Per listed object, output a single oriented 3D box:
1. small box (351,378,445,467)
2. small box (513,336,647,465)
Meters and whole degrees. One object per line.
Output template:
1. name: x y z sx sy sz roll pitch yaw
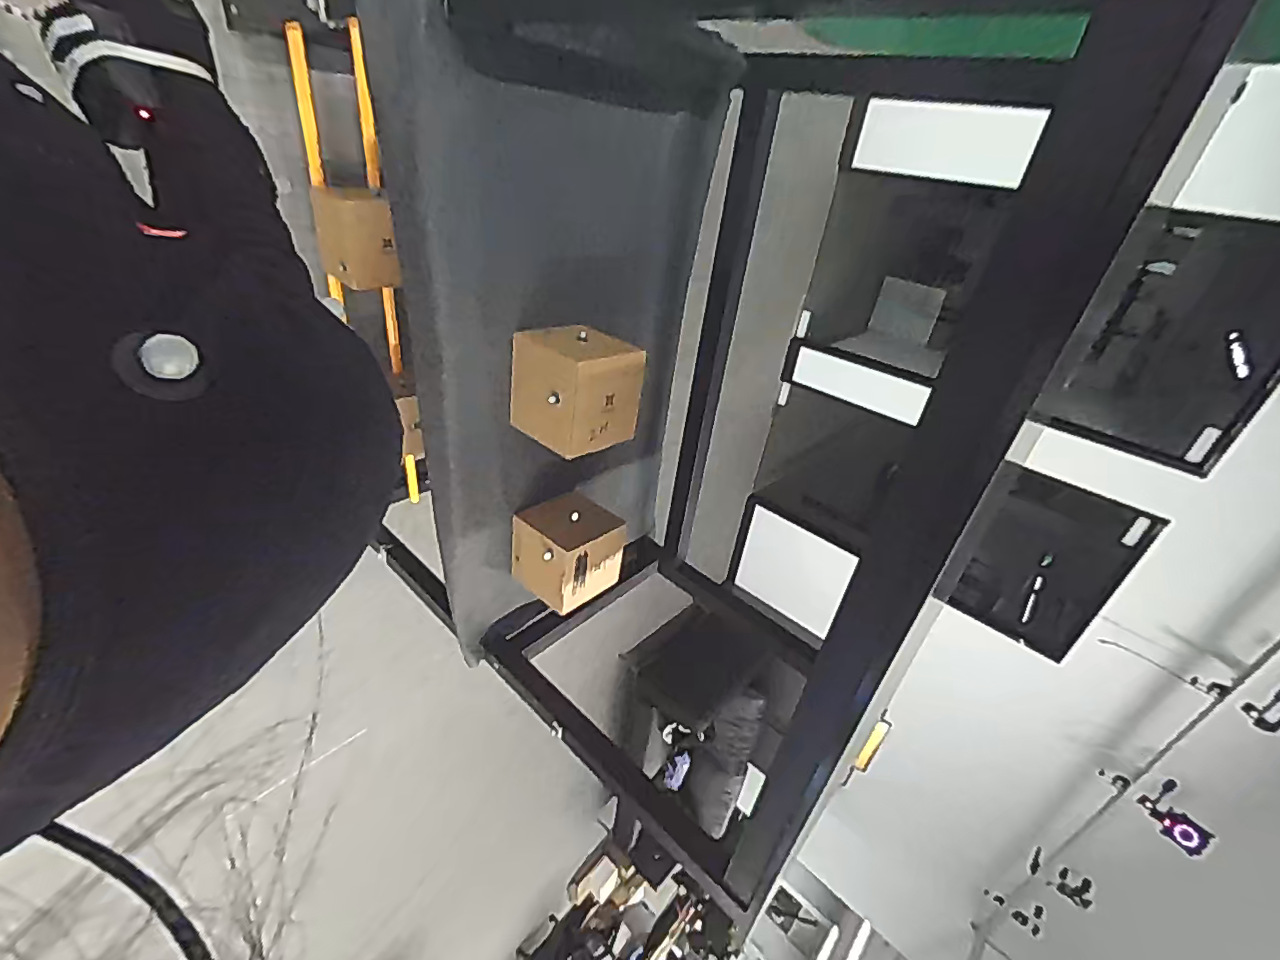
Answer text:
1. small box: -0.635 -0.157 1.416 0.179 0.176 0.168 -22 132 -44
2. small box: -0.113 -0.153 0.970 0.168 0.176 0.179 -22 132 -44
